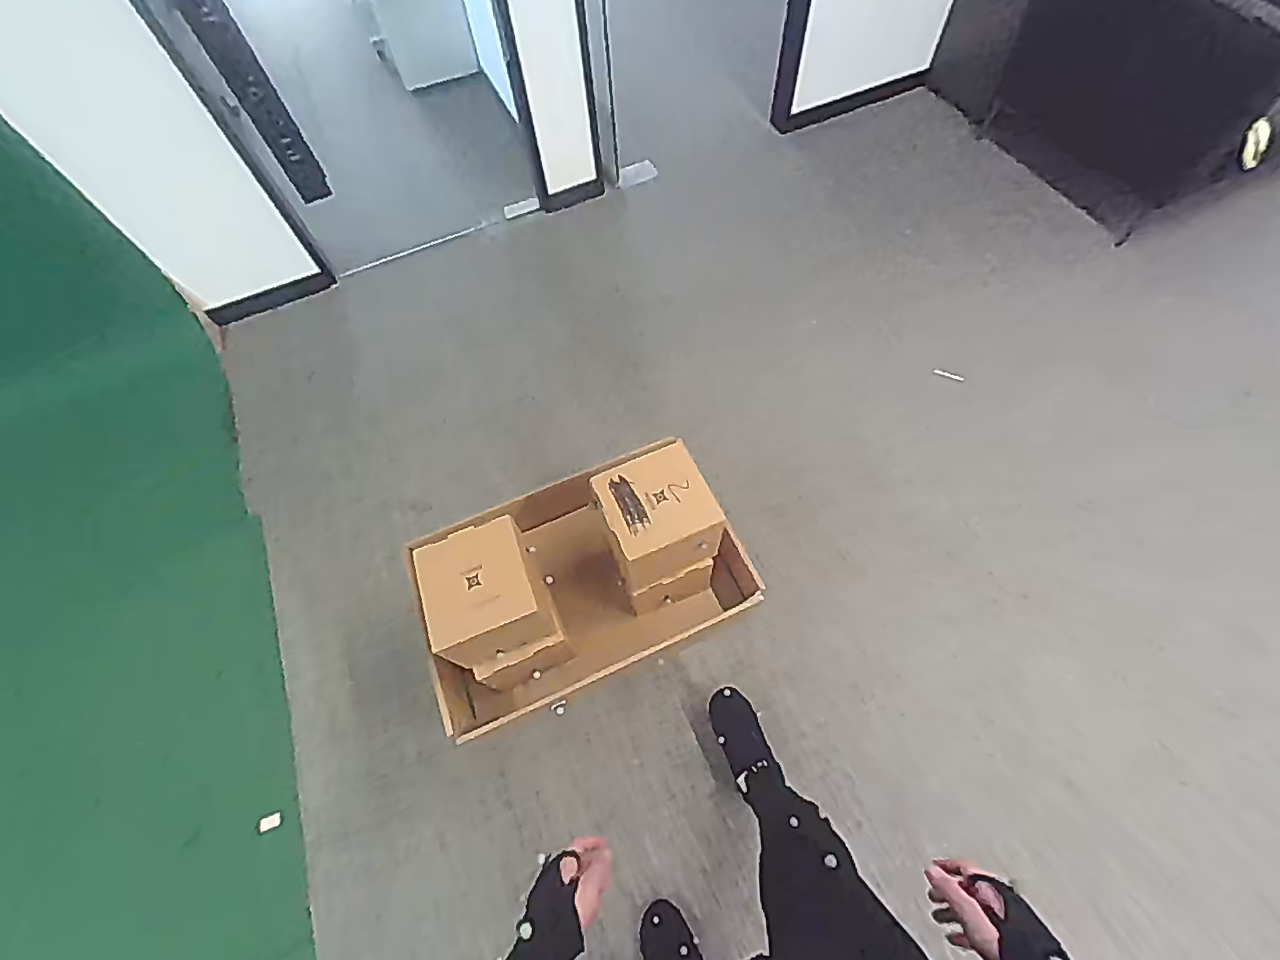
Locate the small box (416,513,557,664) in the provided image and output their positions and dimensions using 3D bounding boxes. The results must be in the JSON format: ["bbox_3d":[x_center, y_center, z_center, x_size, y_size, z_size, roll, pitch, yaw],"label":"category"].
[{"bbox_3d":[-0.252,0.187,0.911,0.168,0.176,0.179,-20,62,-6],"label":"small box"}]
